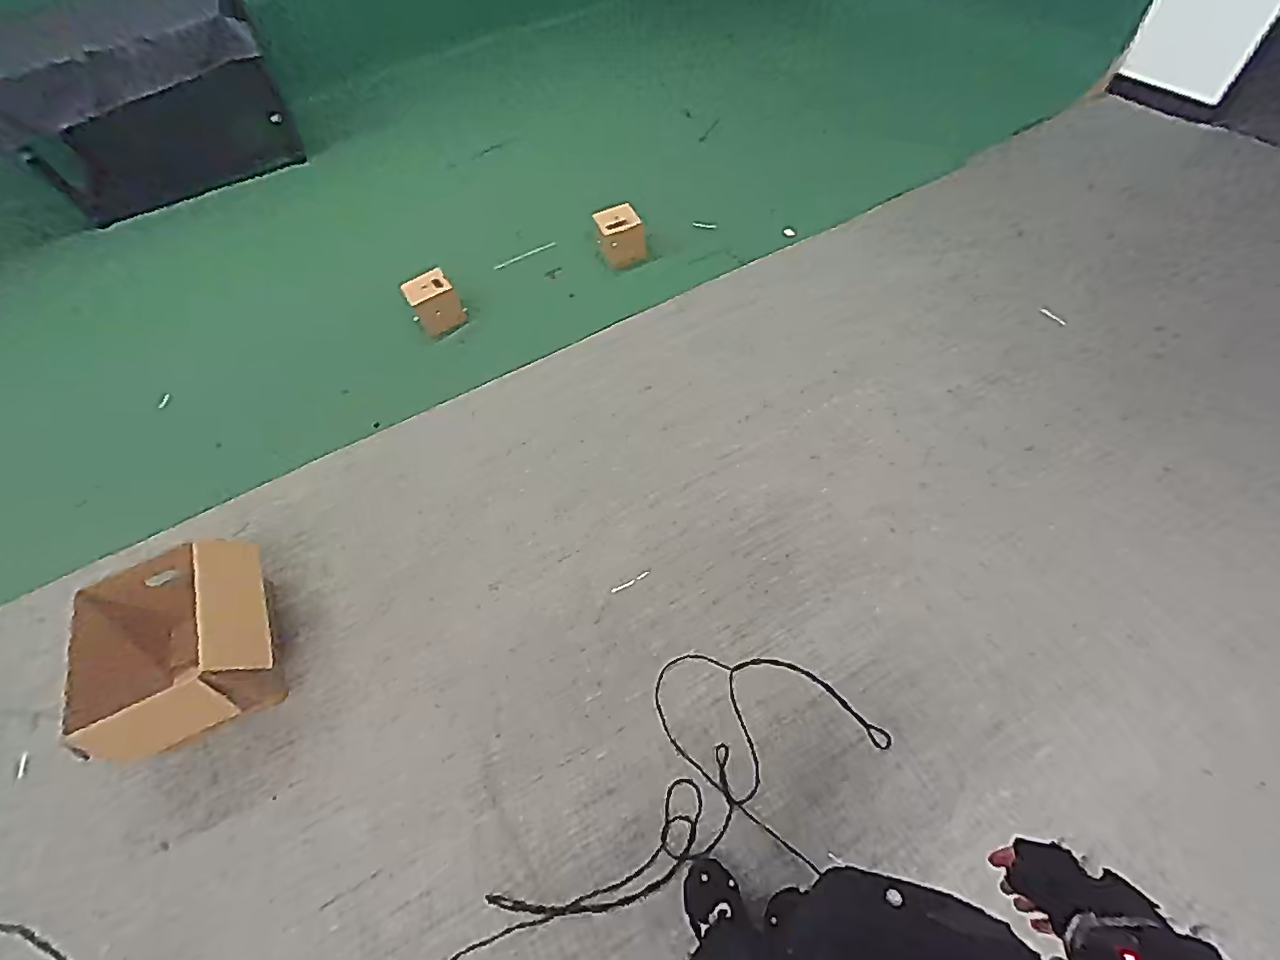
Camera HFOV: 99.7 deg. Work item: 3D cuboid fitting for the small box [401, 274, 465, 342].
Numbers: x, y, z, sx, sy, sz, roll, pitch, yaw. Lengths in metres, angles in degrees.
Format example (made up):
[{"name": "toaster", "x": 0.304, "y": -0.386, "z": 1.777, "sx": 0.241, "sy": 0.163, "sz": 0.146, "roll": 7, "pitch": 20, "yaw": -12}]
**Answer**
[{"name": "small box", "x": -0.845, "y": -0.705, "z": 2.229, "sx": 0.179, "sy": 0.176, "sz": 0.168, "roll": -30, "pitch": 58, "yaw": -10}]
